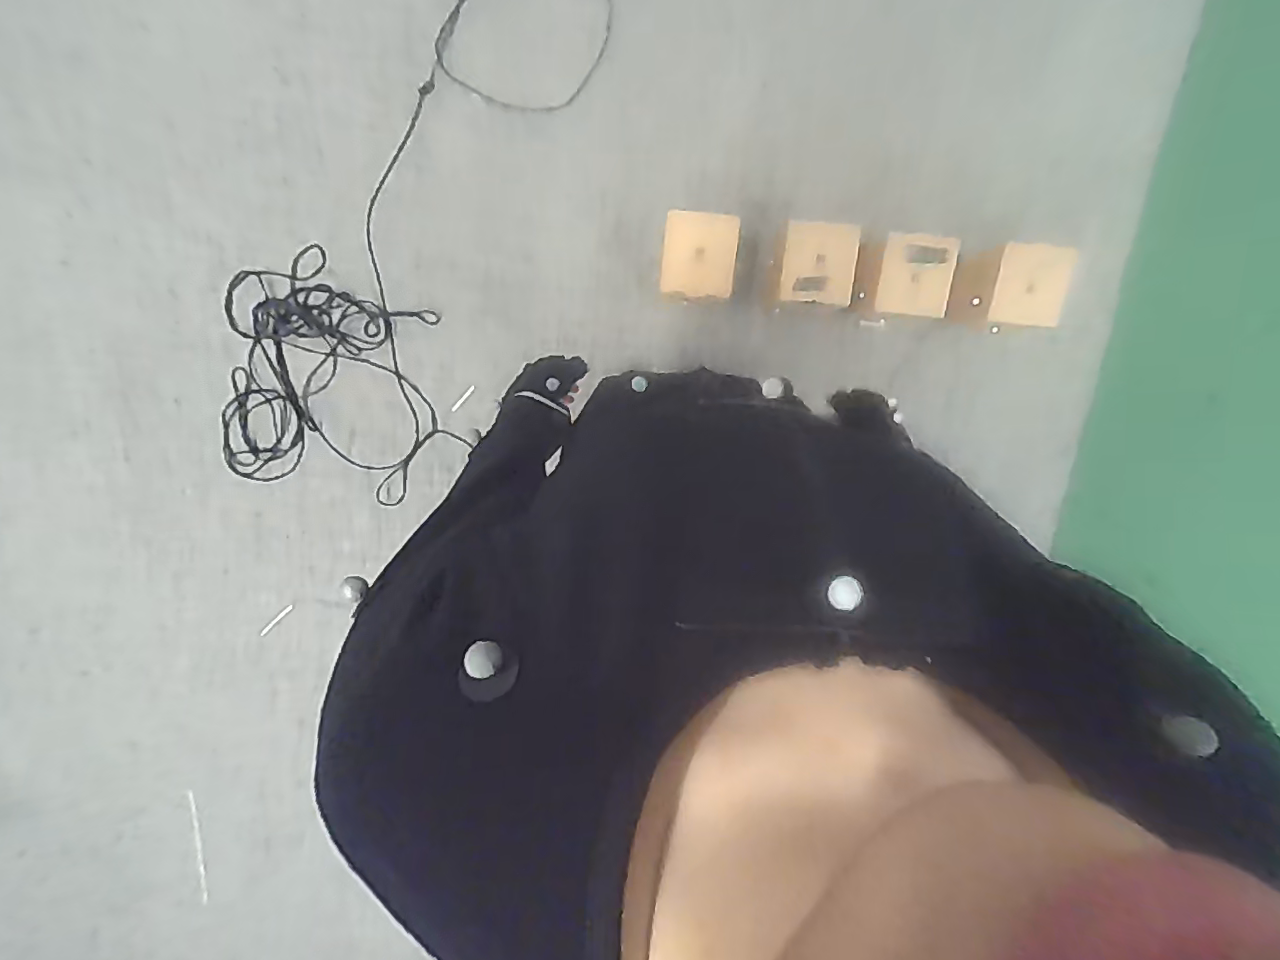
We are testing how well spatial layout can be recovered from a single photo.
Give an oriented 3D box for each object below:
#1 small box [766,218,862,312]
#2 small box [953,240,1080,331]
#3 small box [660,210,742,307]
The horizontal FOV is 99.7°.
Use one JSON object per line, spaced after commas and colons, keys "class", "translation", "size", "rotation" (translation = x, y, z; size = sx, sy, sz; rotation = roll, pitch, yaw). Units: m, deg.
{"class": "small box", "translation": [0.401, -0.499, 1.280], "size": [0.168, 0.176, 0.179], "rotation": [5, 101, 1]}
{"class": "small box", "translation": [0.881, -0.453, 1.285], "size": [0.168, 0.176, 0.179], "rotation": [6, 103, -1]}
{"class": "small box", "translation": [0.136, -0.518, 1.283], "size": [0.168, 0.176, 0.179], "rotation": [5, 103, 0]}
